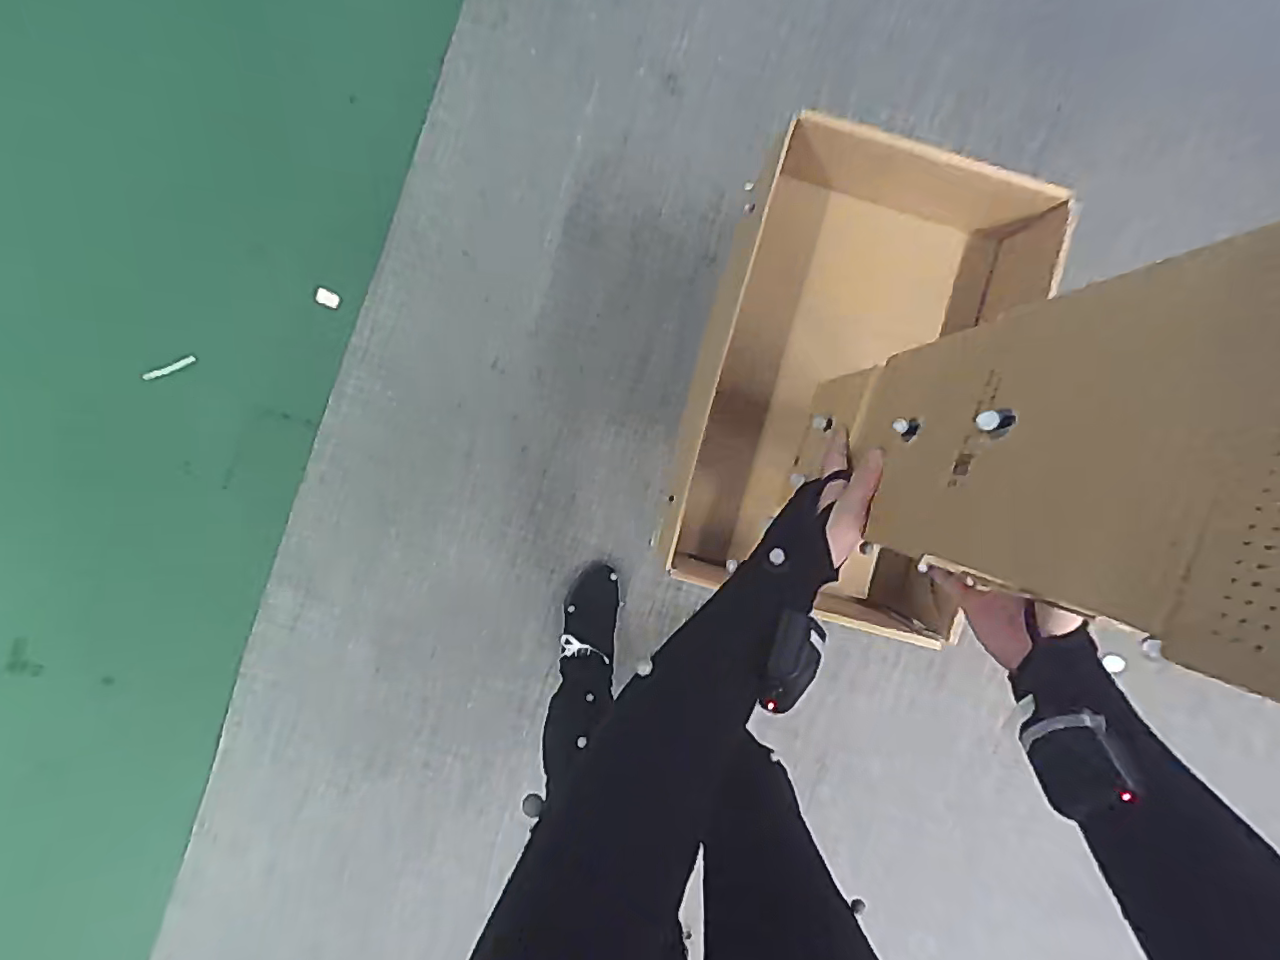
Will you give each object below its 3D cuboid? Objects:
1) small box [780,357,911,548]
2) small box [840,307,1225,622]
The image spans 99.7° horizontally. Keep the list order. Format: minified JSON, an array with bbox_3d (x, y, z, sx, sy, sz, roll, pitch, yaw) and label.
[{"bbox_3d":[0.280,-0.020,0.610,0.179,0.176,0.168,18,93,-4],"label":"small box"},{"bbox_3d":[0.290,-0.013,0.446,0.168,0.176,0.179,19,92,-4],"label":"small box"}]
